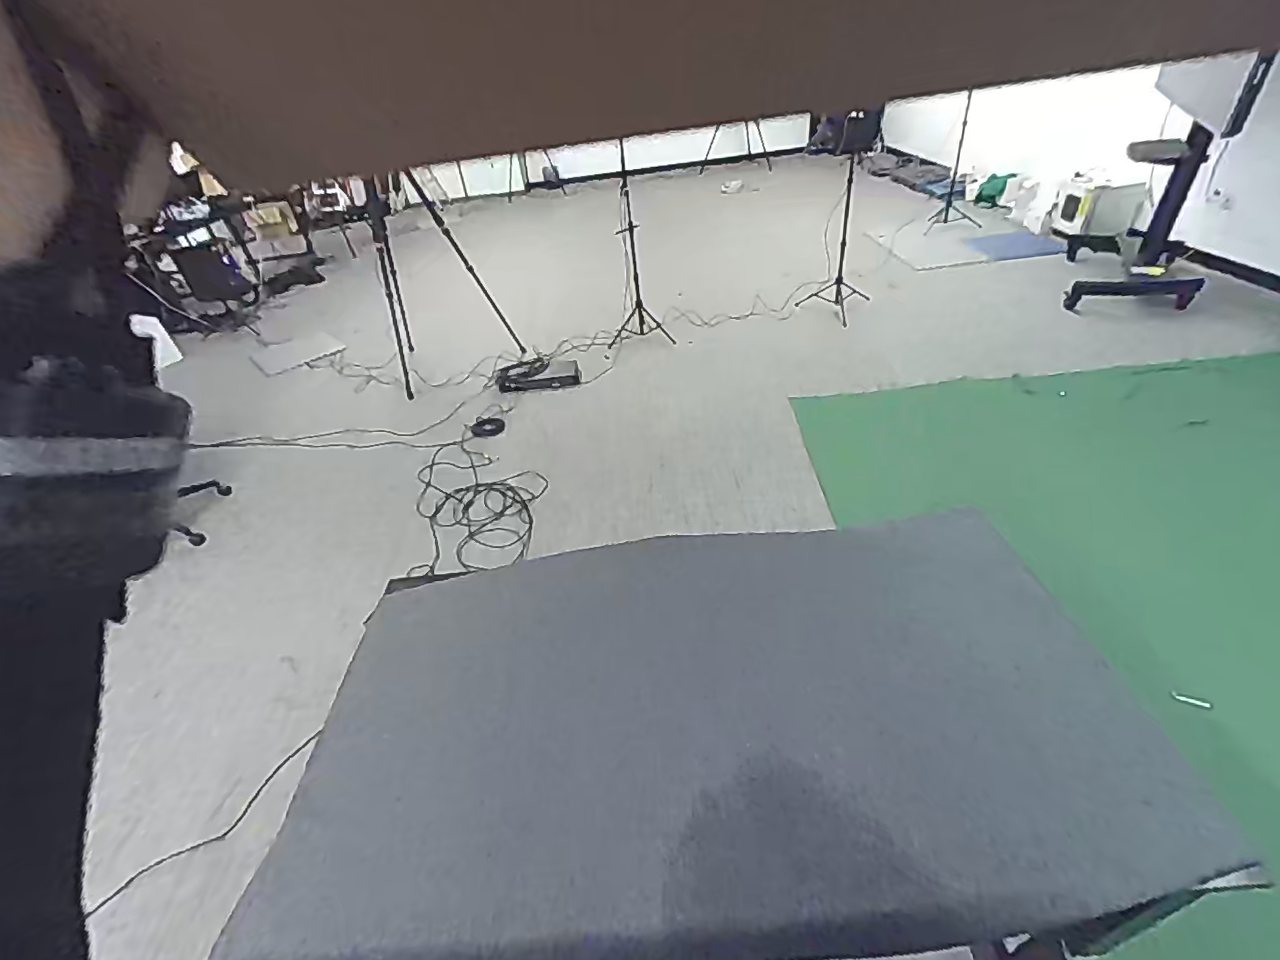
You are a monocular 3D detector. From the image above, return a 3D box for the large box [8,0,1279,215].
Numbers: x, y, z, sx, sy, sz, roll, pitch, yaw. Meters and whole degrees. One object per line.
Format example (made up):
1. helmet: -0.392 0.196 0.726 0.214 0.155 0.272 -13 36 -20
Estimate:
1. large box: 0.014 -0.305 0.097 0.408 0.320 0.320 -8 78 0
